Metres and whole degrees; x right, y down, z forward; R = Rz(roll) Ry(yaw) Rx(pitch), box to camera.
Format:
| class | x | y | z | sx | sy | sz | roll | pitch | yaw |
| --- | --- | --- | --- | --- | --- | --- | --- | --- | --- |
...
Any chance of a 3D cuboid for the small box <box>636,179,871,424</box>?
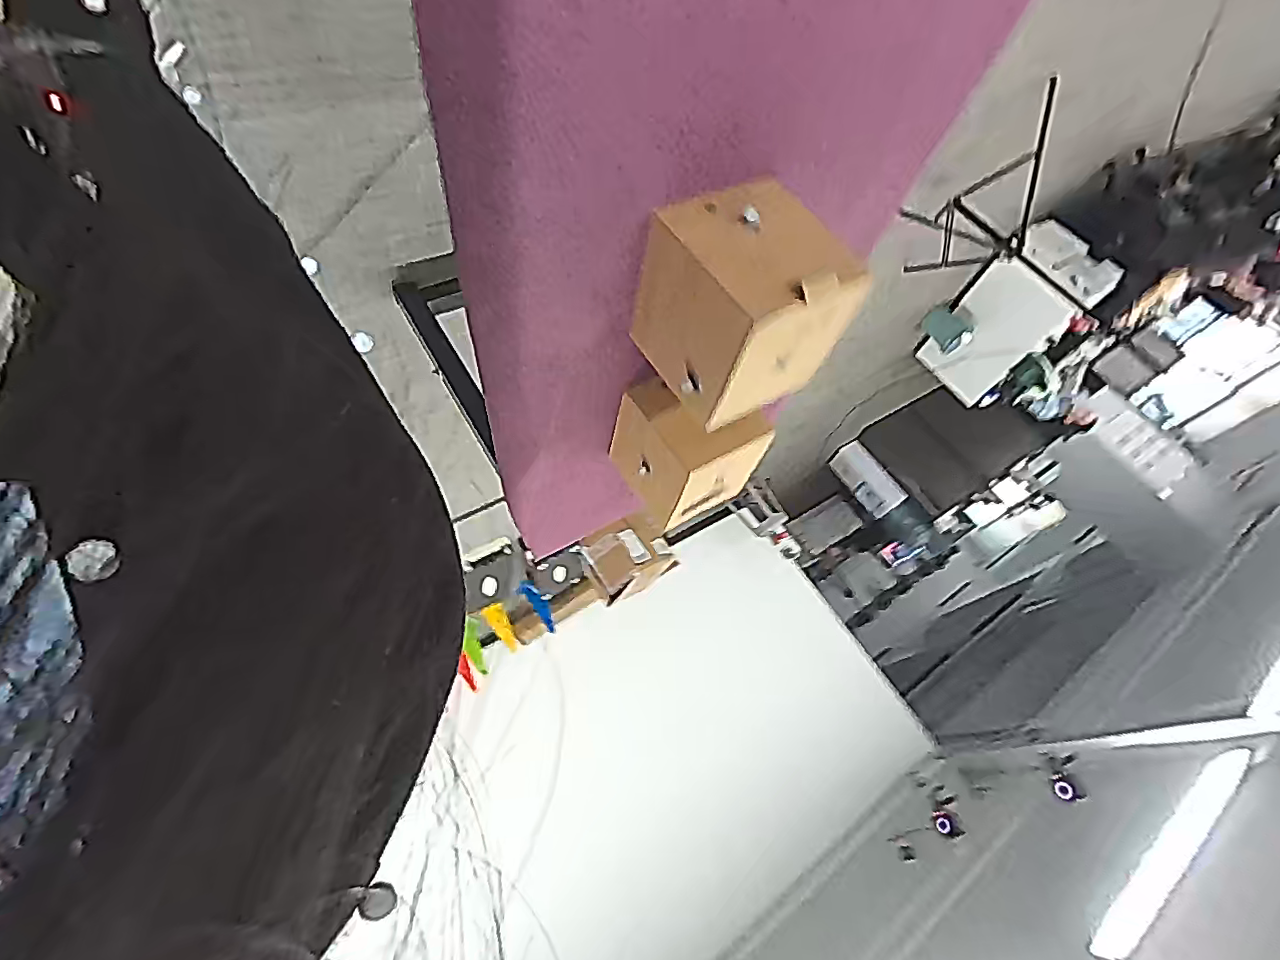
| class | x | y | z | sx | sy | sz | roll | pitch | yaw |
| --- | --- | --- | --- | --- | --- | --- | --- | --- | --- |
| small box | 0.112 | -0.201 | 0.615 | 0.168 | 0.176 | 0.179 | -27 | 158 | -23 |
